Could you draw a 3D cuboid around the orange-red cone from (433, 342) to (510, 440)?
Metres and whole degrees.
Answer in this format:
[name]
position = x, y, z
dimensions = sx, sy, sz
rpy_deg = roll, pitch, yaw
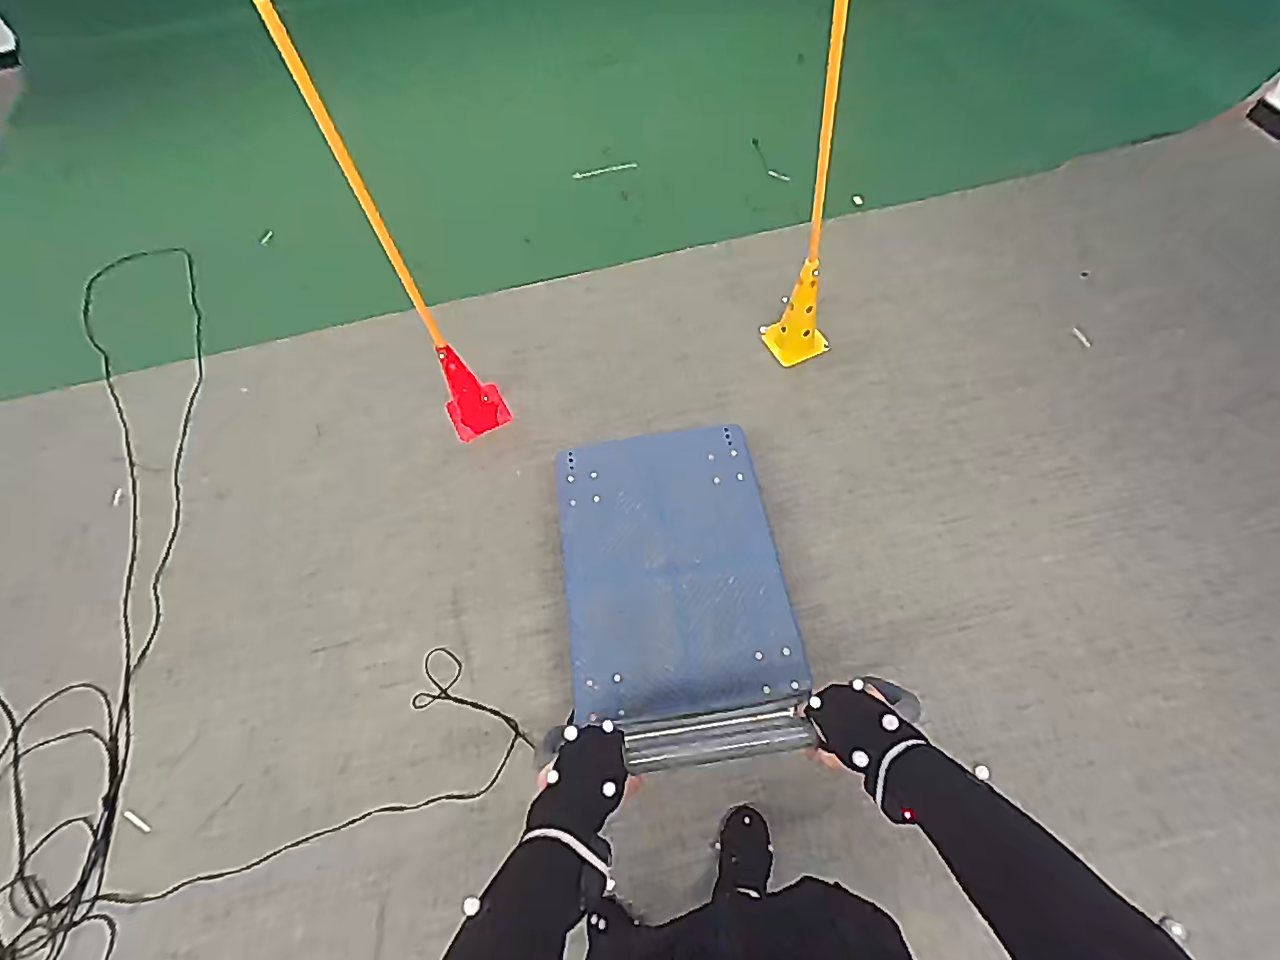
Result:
[orange-red cone]
position = -0.598, -0.324, 1.800
dimensions = 0.199, 0.360, 0.198
rpy_deg = -27, 62, -8
